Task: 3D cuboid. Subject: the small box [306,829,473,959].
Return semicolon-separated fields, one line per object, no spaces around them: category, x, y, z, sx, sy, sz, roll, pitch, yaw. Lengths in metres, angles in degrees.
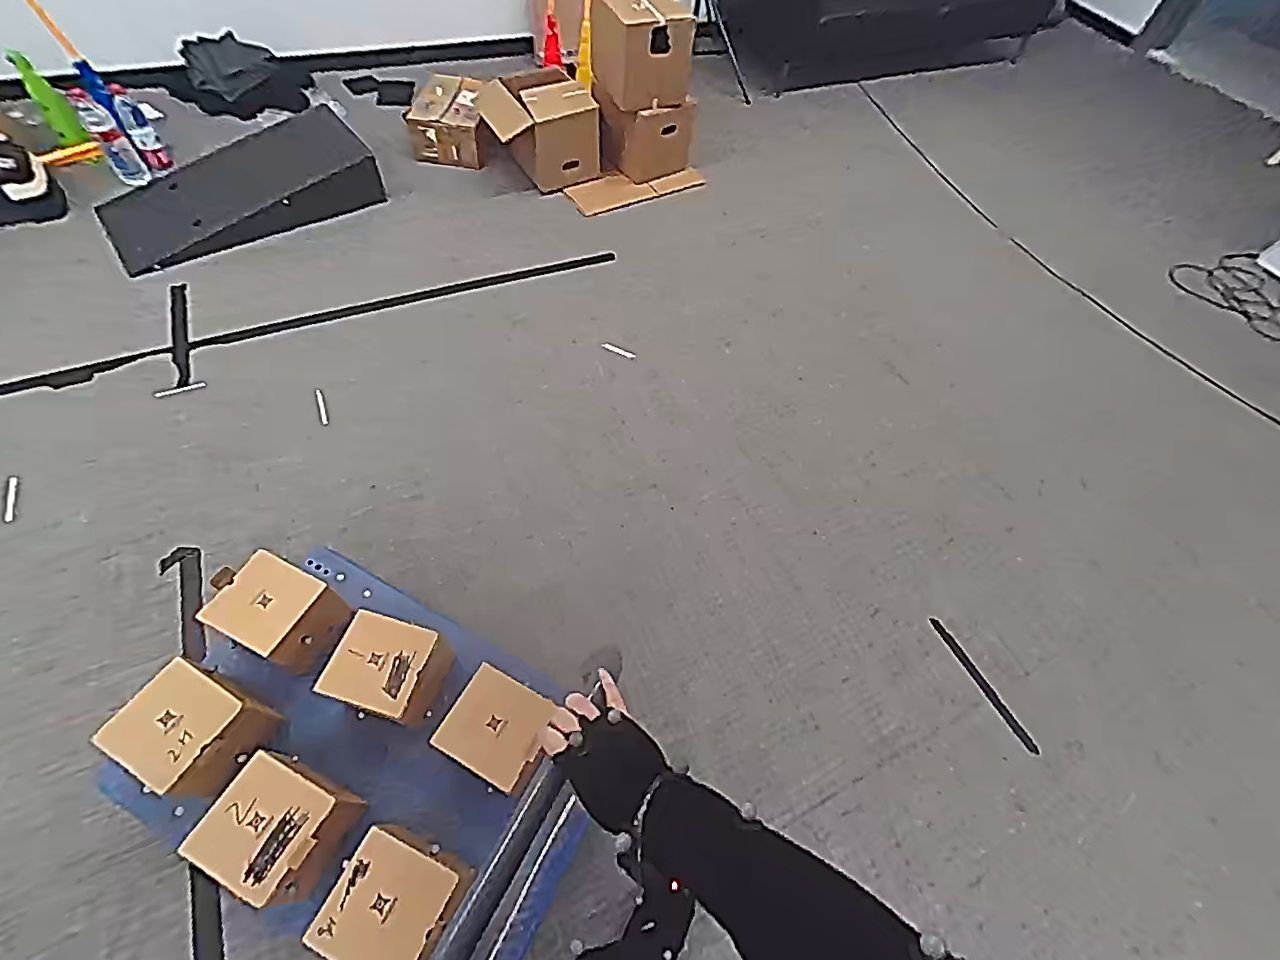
small box;-0.404;0.714;0.913;0.179;0.176;0.168;24;57;7

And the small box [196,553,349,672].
small box;-0.756;0.286;1.139;0.179;0.176;0.168;24;58;7

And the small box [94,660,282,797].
small box;-0.828;0.471;1.011;0.179;0.176;0.168;28;59;10

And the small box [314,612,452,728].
small box;-0.507;0.394;1.102;0.179;0.176;0.168;15;57;4

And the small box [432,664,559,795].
small box;-0.273;0.496;1.069;0.179;0.176;0.168;27;58;10
